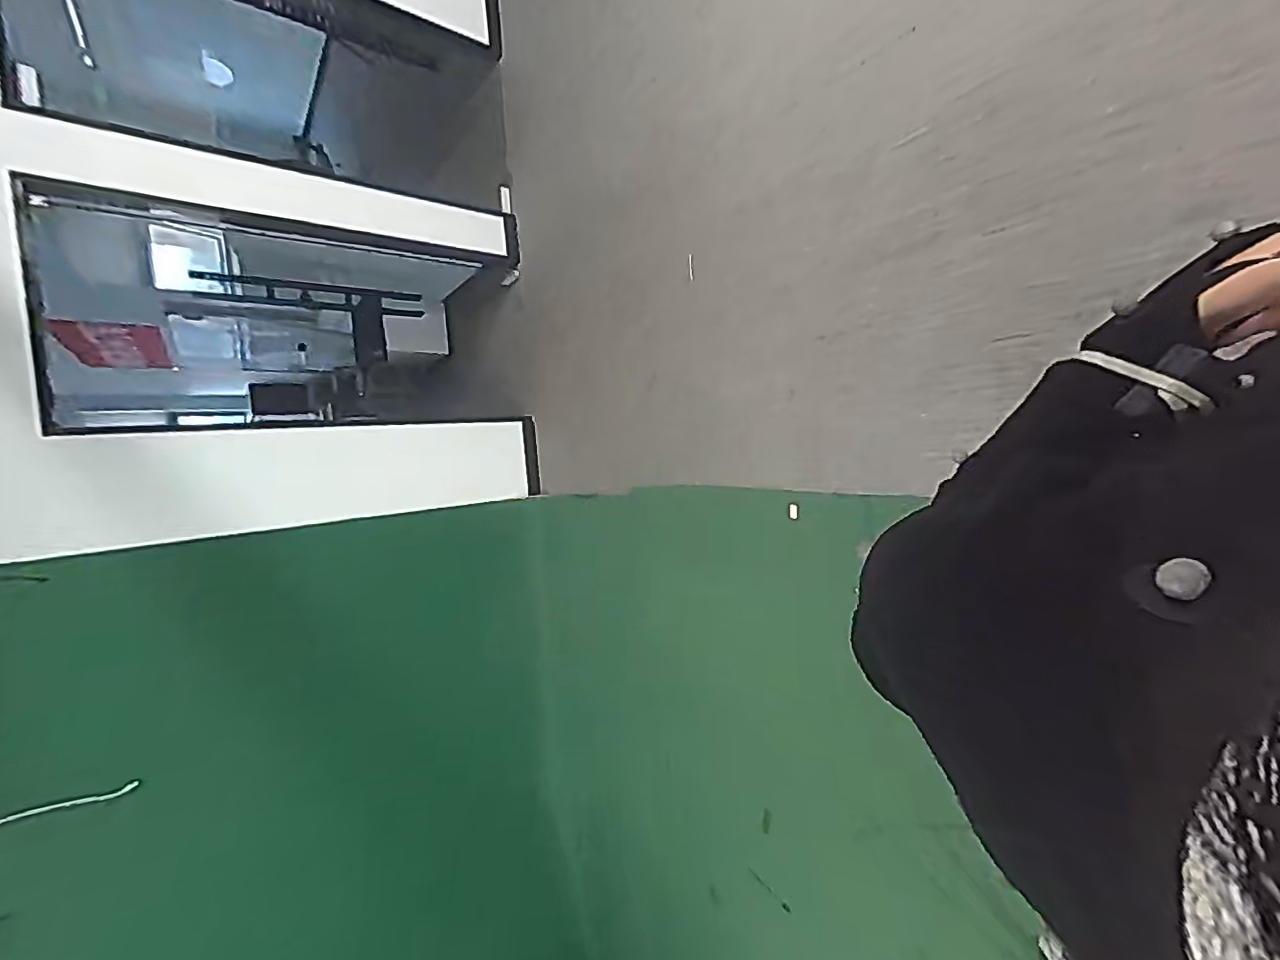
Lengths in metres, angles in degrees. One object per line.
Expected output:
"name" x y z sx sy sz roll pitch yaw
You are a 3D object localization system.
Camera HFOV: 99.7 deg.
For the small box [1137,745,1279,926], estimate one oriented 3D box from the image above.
"small box" 1.002 0.600 0.941 0.168 0.176 0.179 -6 91 52
